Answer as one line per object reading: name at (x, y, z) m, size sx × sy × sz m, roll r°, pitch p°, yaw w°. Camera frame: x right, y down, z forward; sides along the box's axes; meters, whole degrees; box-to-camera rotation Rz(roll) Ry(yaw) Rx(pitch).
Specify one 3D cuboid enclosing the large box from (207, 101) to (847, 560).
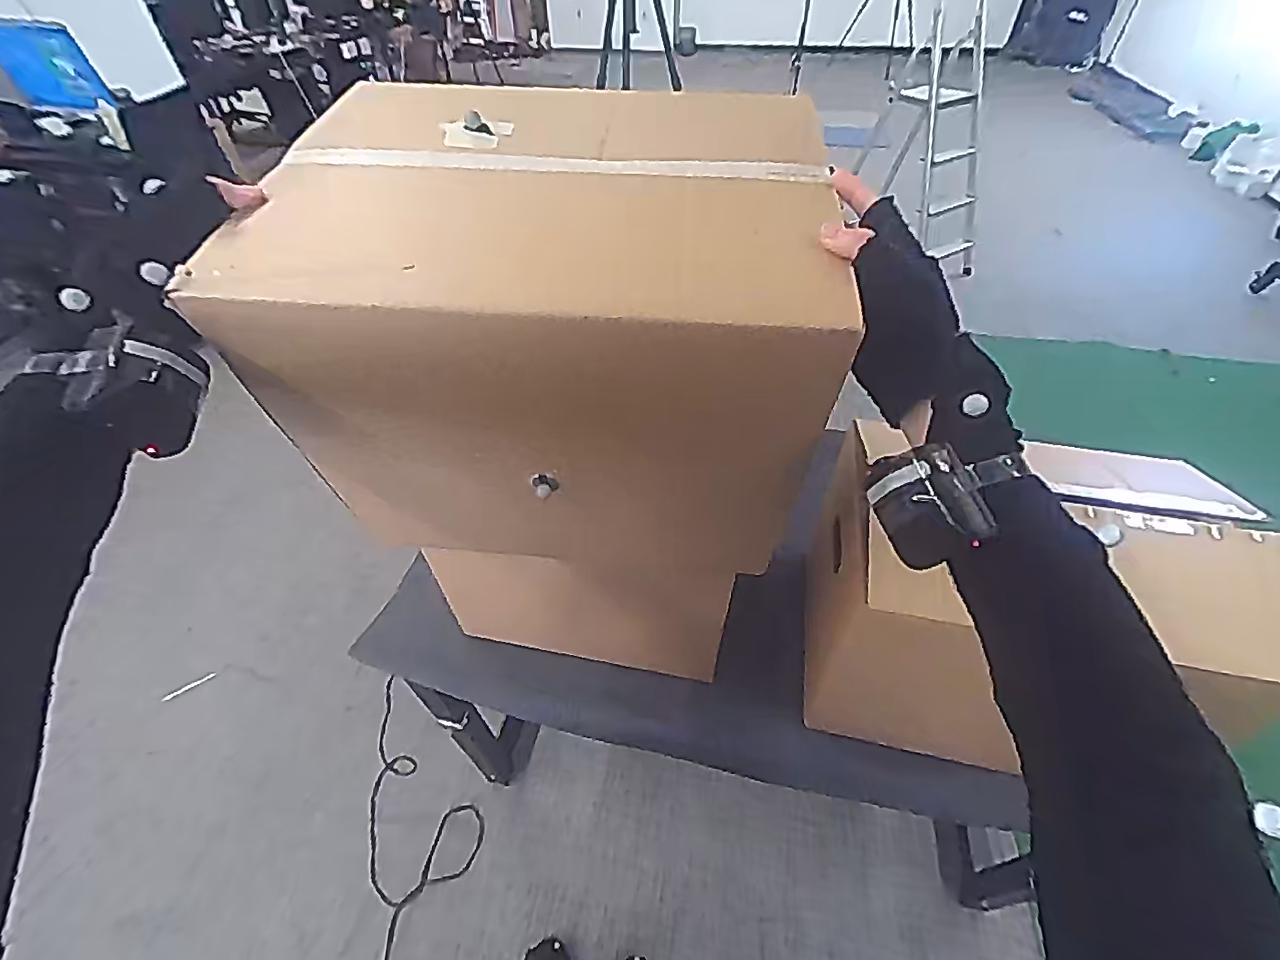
large box at (-0.060, -0.132, 0.532) m, size 0.408 × 0.320 × 0.320 m, roll 4°, pitch 55°, yaw 4°
